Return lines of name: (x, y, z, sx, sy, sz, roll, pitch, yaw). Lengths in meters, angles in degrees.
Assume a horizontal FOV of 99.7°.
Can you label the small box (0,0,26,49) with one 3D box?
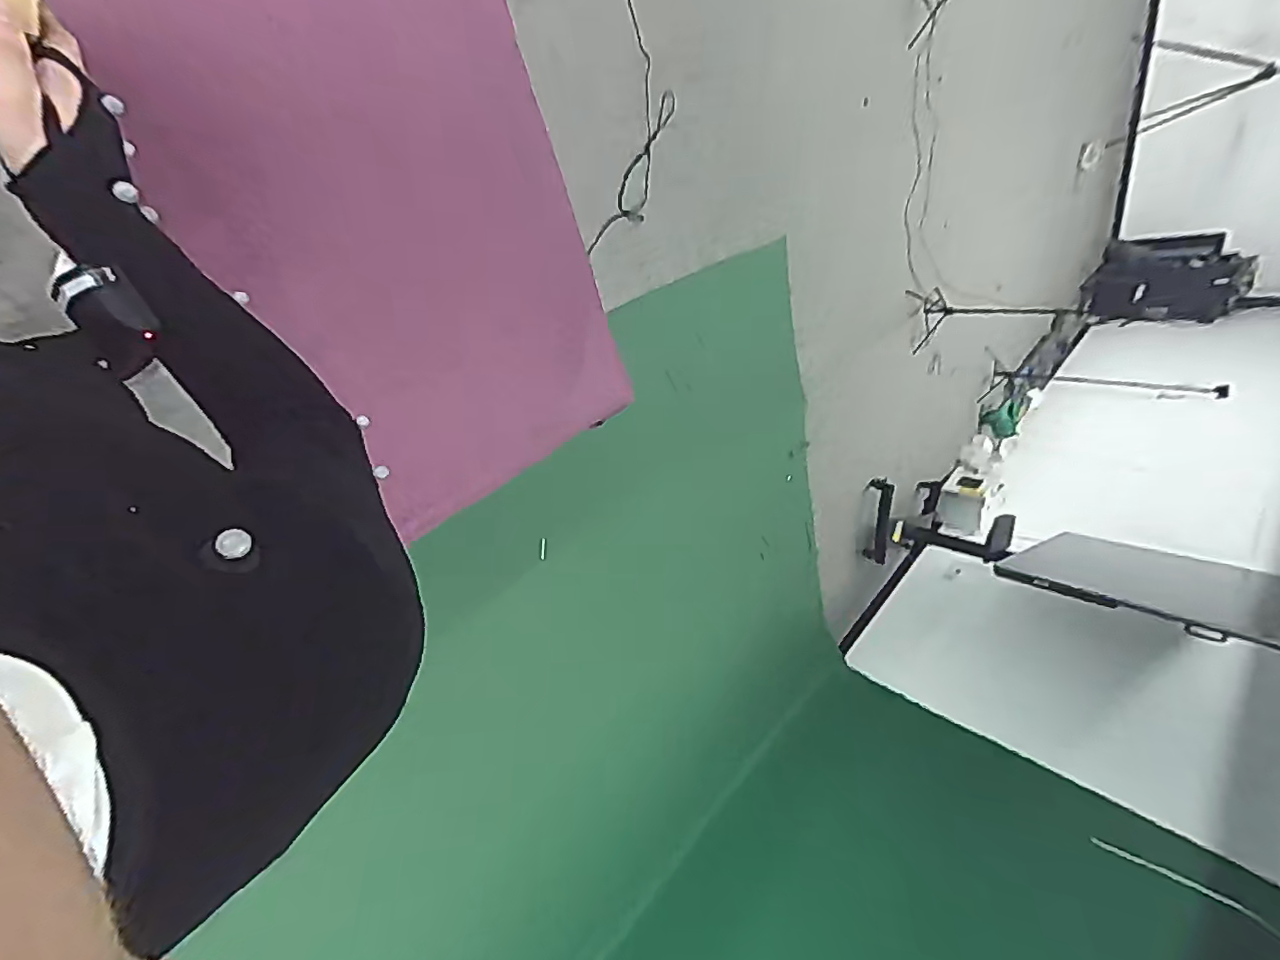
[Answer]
small box: (-0.517, -0.416, 0.341, 0.179, 0.176, 0.168, 3, 106, -52)
